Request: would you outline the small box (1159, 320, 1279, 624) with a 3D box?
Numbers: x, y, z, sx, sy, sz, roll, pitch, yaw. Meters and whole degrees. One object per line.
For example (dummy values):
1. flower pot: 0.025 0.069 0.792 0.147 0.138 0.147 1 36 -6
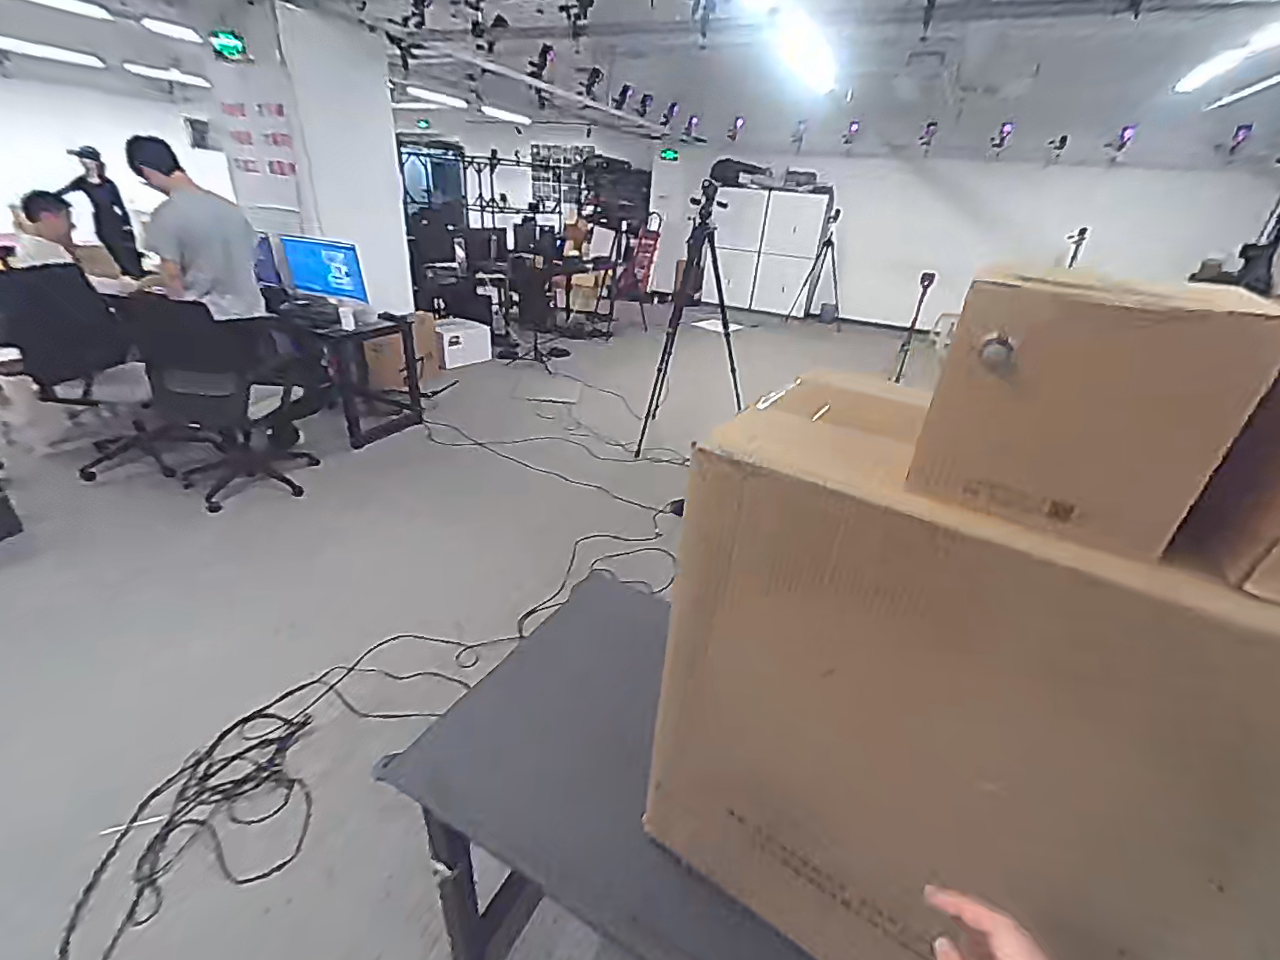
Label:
1. small box: 0.498 0.005 0.348 0.168 0.176 0.179 18 33 18
